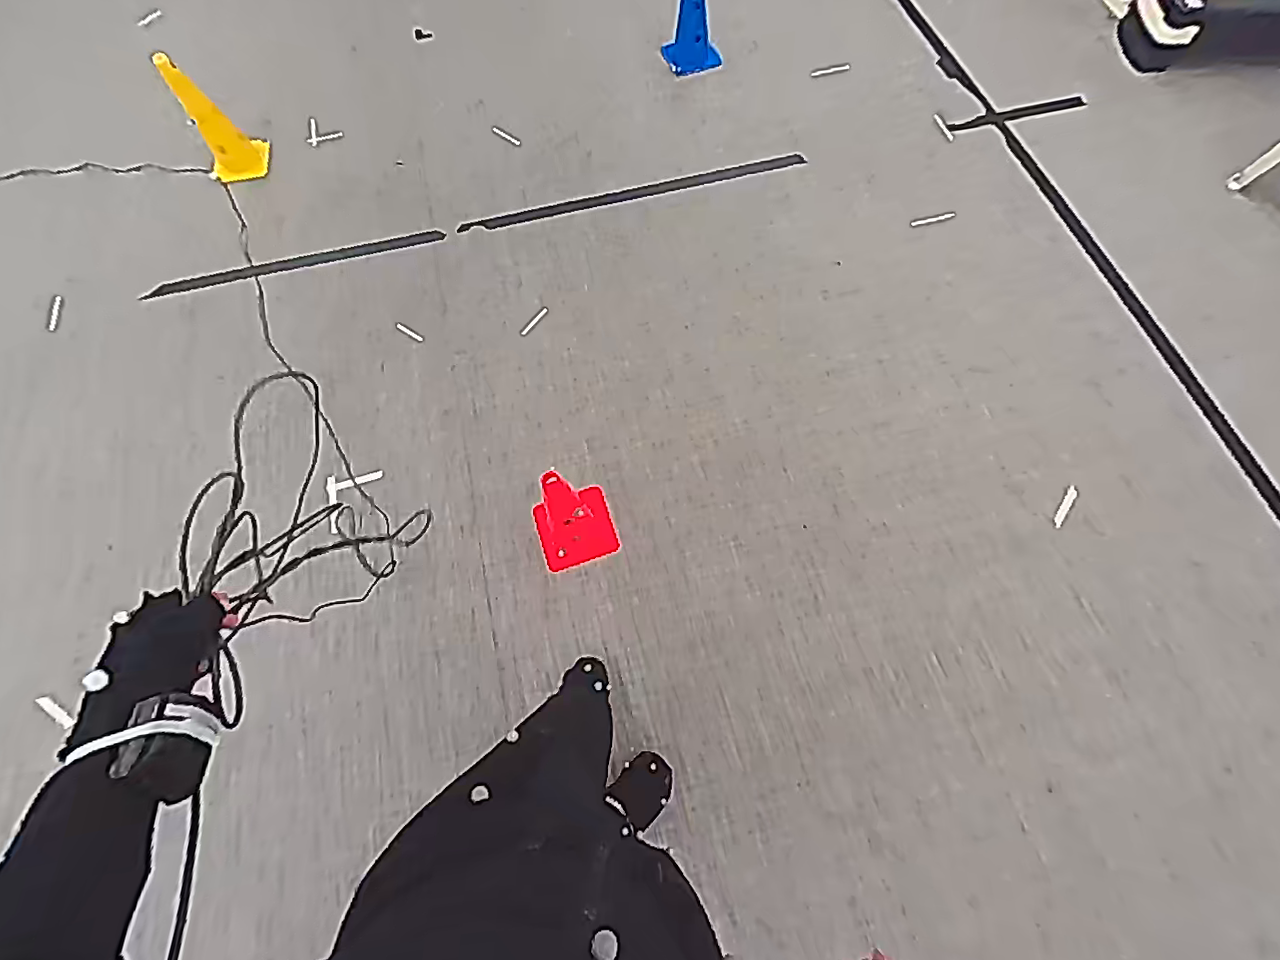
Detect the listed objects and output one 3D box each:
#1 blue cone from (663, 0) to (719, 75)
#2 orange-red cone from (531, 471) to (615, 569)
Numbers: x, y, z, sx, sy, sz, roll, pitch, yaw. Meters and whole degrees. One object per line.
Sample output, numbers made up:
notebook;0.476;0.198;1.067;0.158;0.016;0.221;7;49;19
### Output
blue cone;0.190;-1.732;1.971;0.193;0.380;0.192;-18;69;-5
orange-red cone;-0.184;0.061;1.278;0.199;0.360;0.198;-17;69;-6
